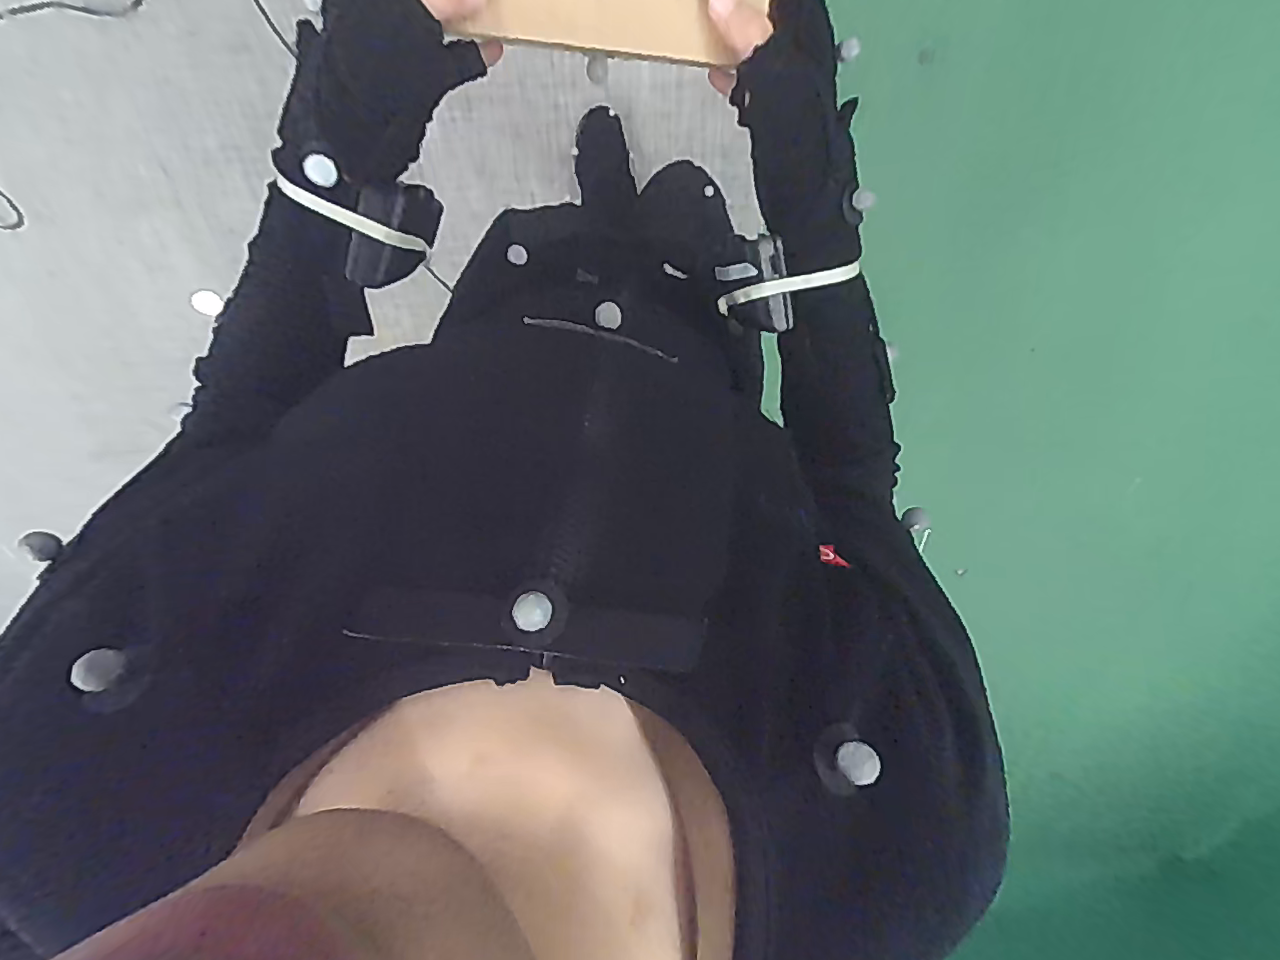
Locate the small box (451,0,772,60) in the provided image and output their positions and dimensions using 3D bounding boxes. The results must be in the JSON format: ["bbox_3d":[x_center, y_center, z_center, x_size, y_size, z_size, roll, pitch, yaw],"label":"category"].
[{"bbox_3d":[-0.010,-0.345,0.288,0.168,0.176,0.179,4,127,-4],"label":"small box"}]
